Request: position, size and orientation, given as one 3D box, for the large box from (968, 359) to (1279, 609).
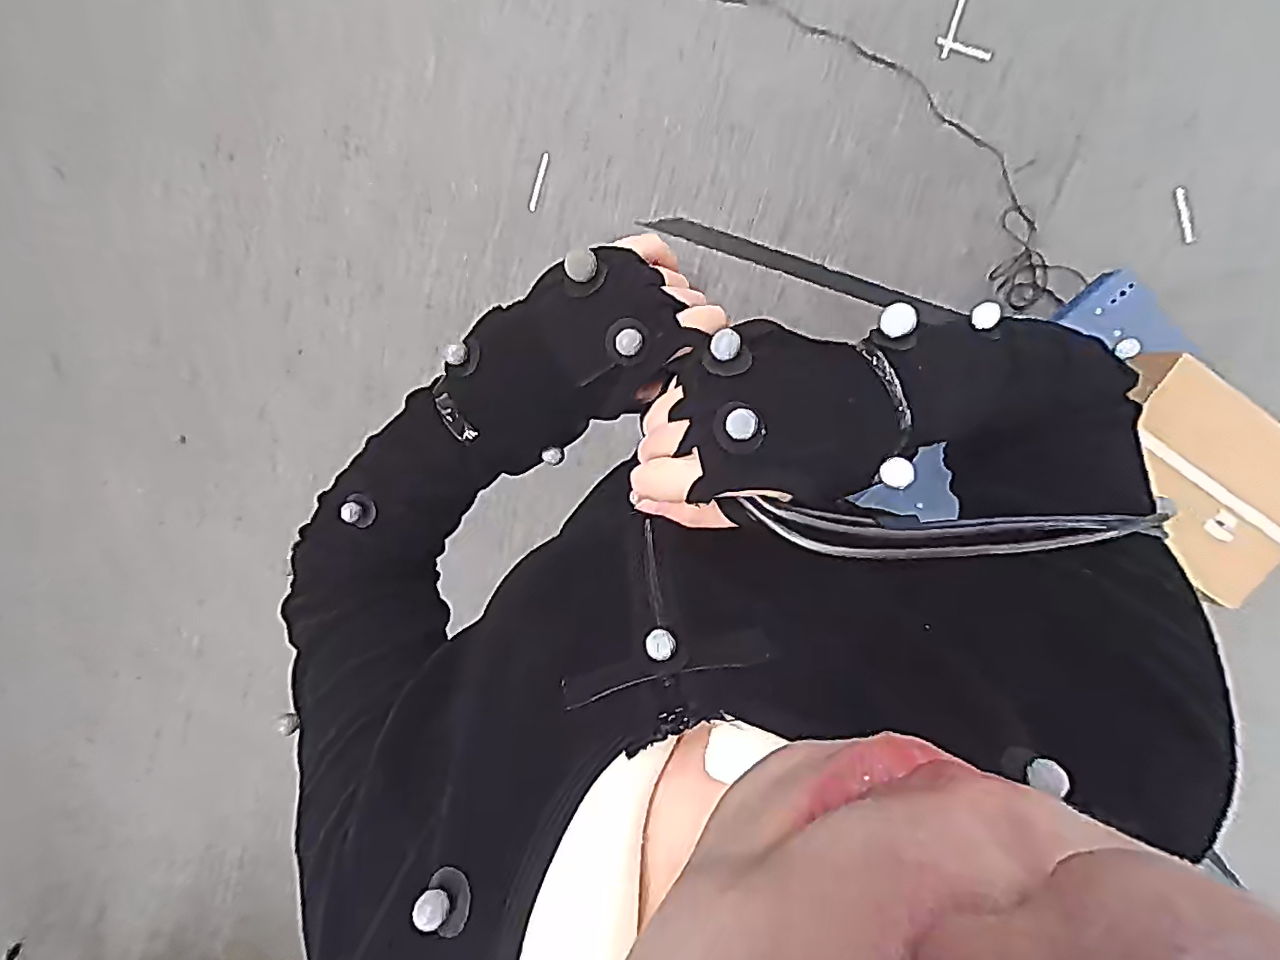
[{"bbox_3d":[1.017,-0.008,1.132,0.408,0.320,0.320,34,98,-5],"label":"large box"}]
